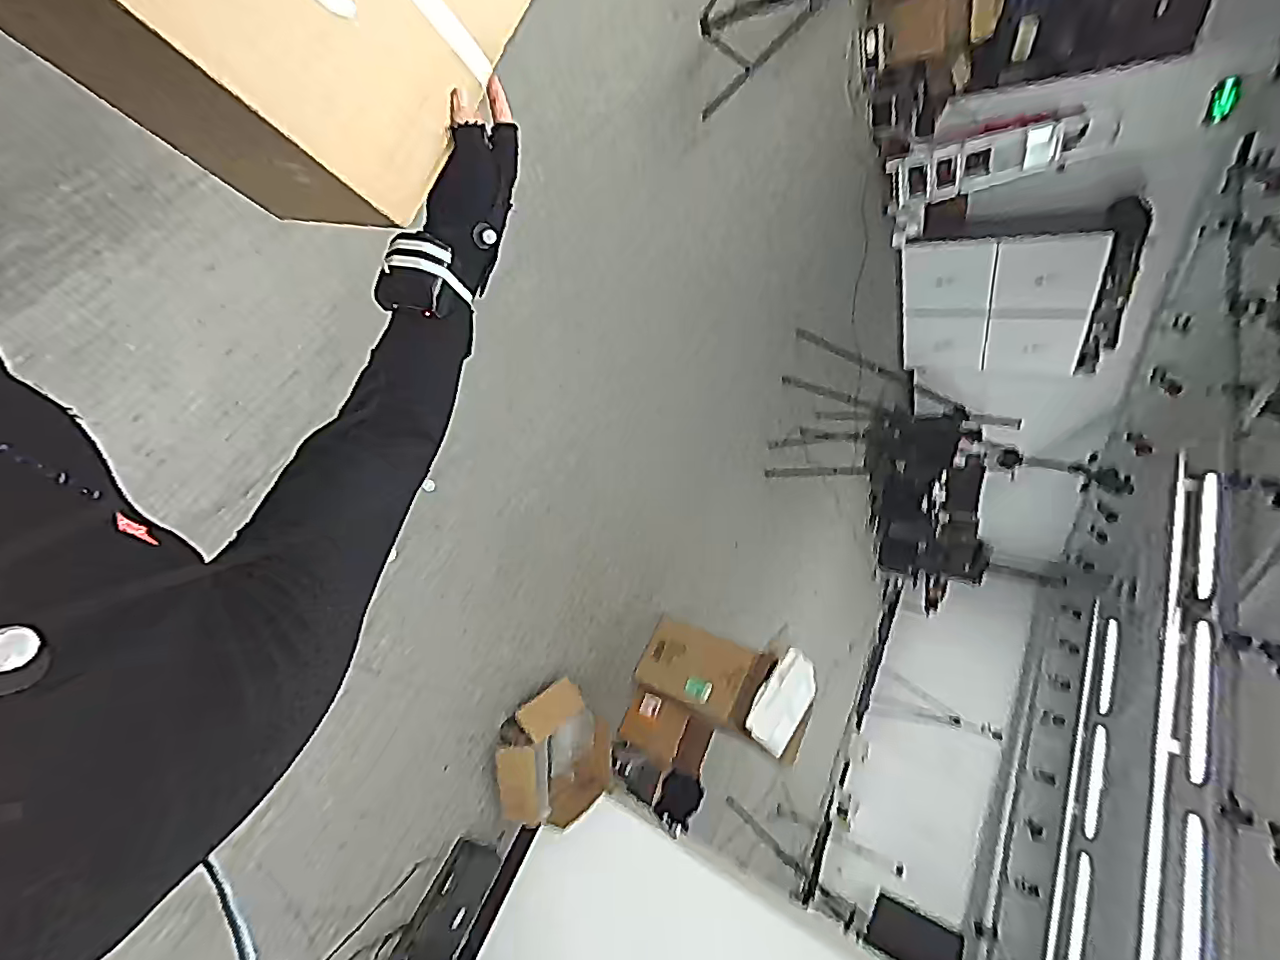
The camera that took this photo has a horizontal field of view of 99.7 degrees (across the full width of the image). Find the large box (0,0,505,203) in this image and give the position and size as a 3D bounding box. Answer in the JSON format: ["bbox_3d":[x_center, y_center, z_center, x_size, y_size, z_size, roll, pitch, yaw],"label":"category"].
[{"bbox_3d":[-0.364,-0.481,0.411,0.408,0.320,0.320,29,86,-55],"label":"large box"}]
